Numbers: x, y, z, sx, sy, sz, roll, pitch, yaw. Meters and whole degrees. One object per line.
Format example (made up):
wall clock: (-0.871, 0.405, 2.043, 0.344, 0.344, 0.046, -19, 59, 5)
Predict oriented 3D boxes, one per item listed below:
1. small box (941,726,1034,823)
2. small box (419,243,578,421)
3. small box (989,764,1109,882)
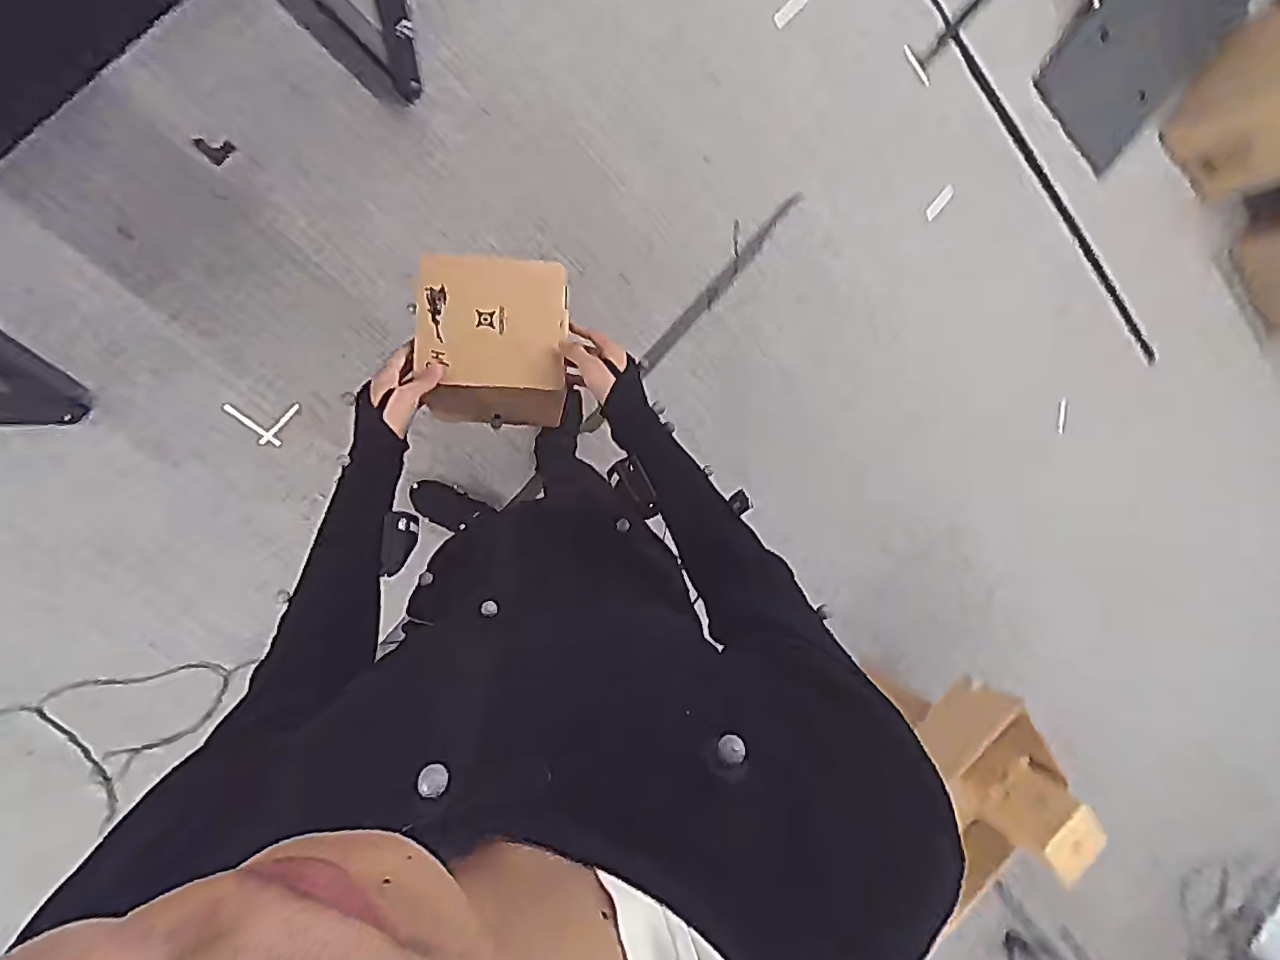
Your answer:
small box: (1.030, 0.859, 1.585, 0.168, 0.176, 0.179, -38, 107, -8)
small box: (-0.181, -0.181, 0.715, 0.179, 0.176, 0.168, 3, 80, -12)
small box: (1.075, 0.895, 1.433, 0.168, 0.176, 0.179, -41, 107, -7)
